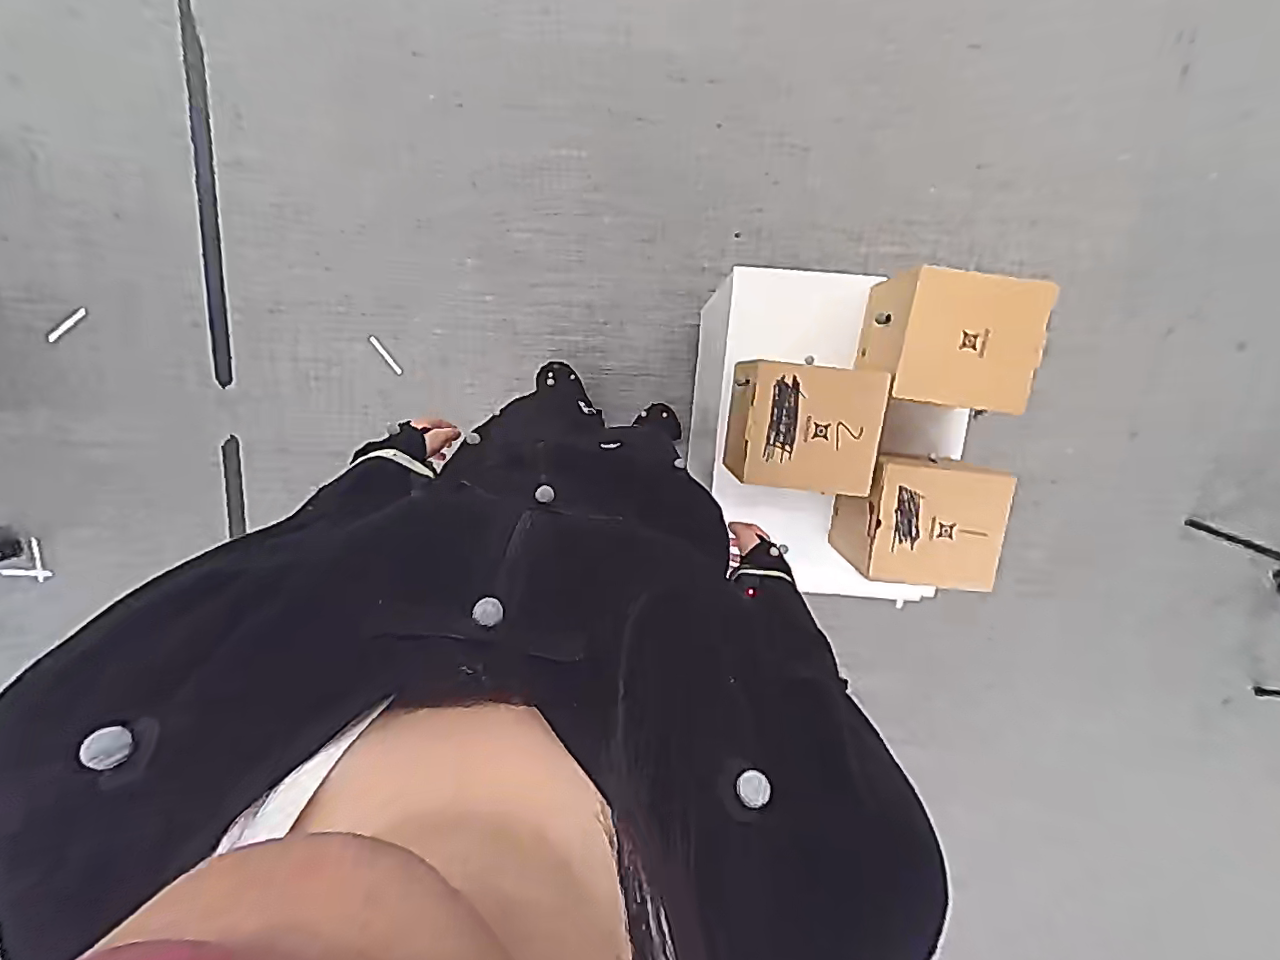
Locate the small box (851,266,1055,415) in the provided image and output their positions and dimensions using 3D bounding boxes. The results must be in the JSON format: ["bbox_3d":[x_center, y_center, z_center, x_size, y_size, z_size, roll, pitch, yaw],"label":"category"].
[{"bbox_3d":[0.421,-0.189,0.763,0.179,0.176,0.168,8,102,0],"label":"small box"}]
